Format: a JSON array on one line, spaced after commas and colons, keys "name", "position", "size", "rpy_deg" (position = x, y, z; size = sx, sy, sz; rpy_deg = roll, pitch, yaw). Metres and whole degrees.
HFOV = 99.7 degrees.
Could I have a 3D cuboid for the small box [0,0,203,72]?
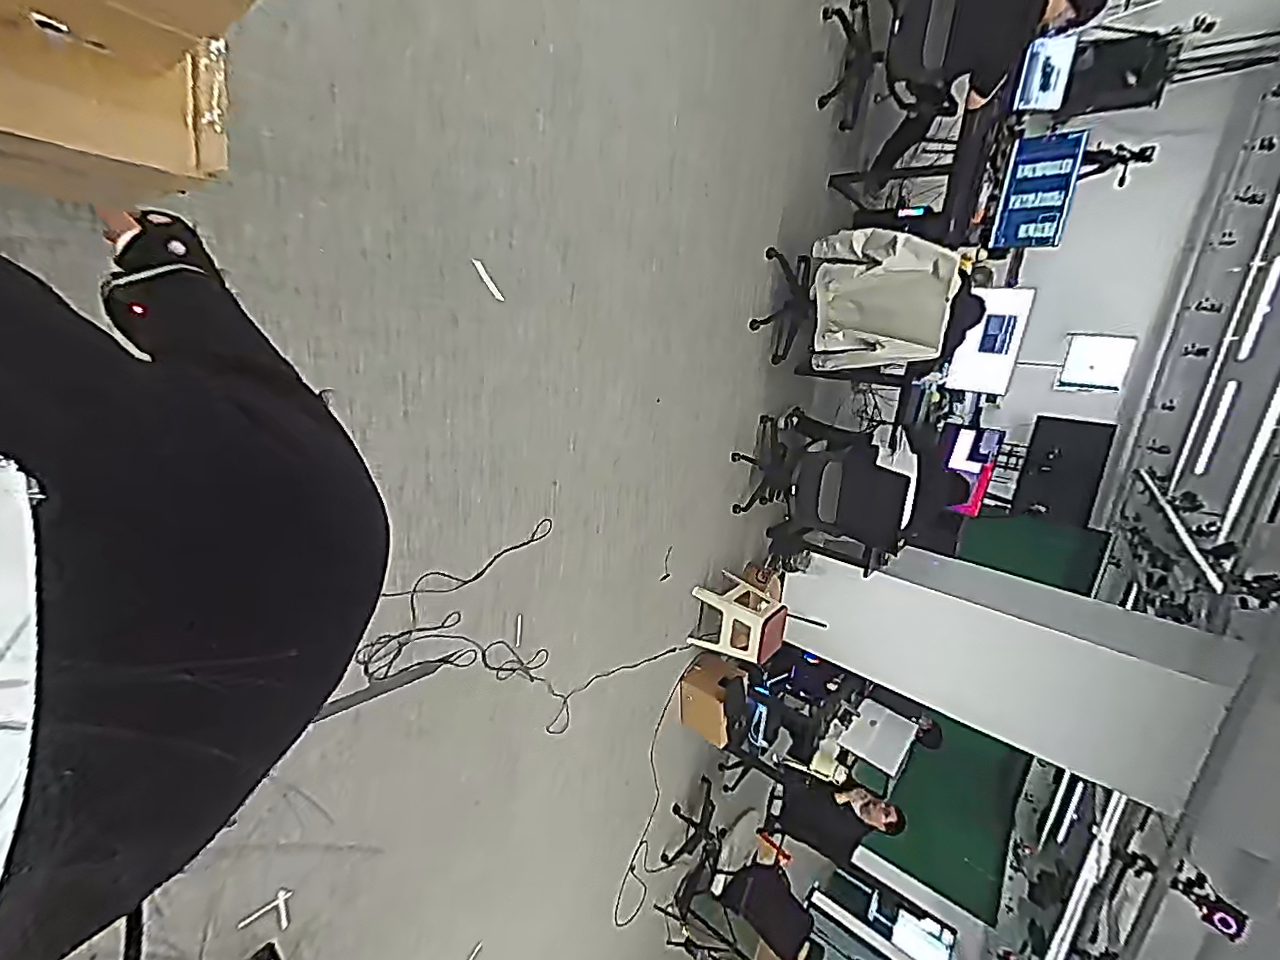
[{"name": "small box", "position": [-0.530, -0.522, 0.497], "size": [0.168, 0.176, 0.179], "rpy_deg": [-10, 113, -48]}]
